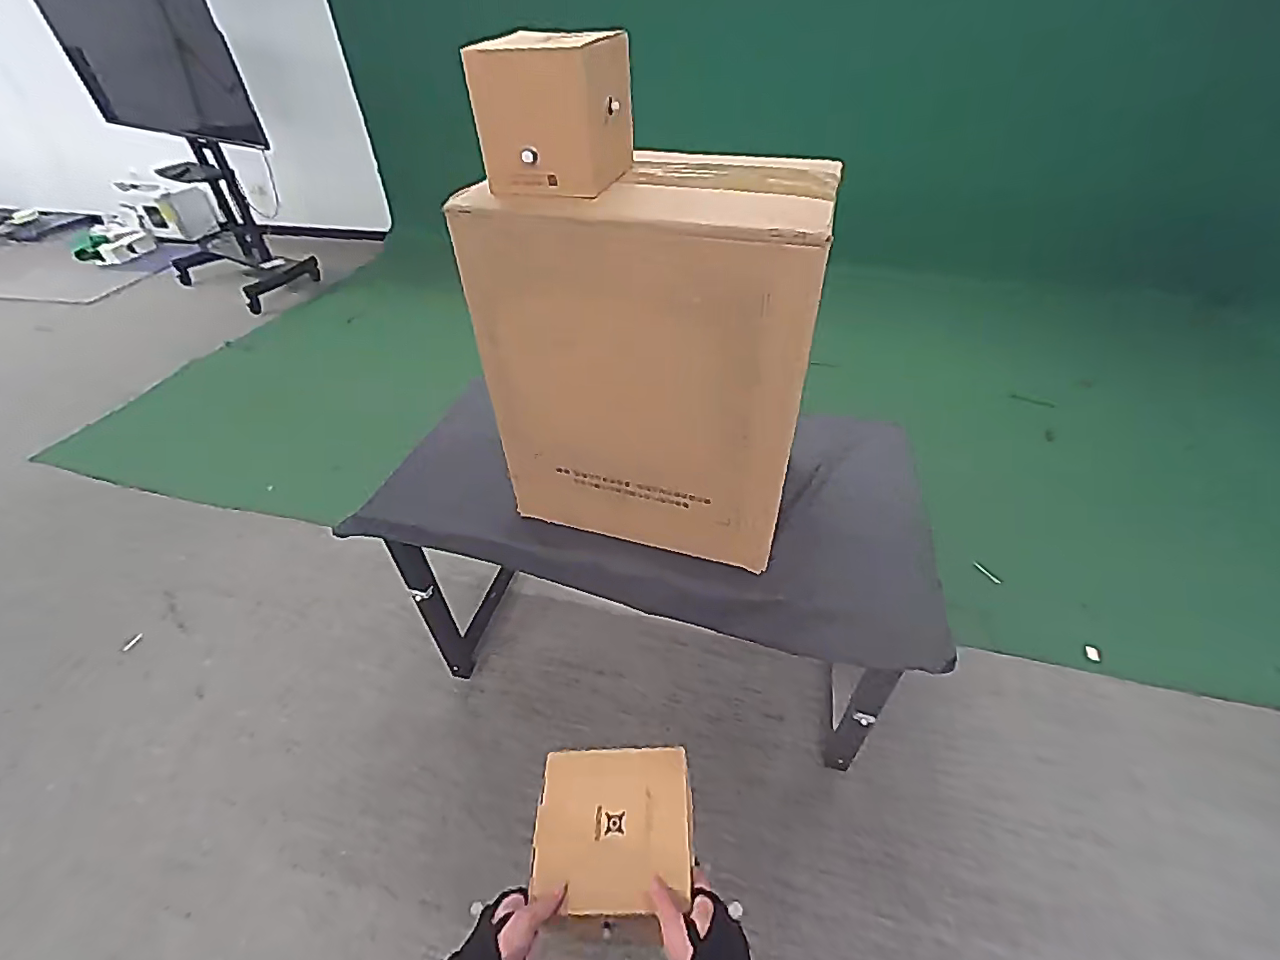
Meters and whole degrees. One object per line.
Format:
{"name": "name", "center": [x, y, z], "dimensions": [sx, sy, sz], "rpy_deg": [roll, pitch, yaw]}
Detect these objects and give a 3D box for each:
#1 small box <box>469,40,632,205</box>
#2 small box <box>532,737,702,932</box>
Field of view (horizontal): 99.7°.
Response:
{"name": "small box", "center": [-0.113, -0.514, 0.777], "dimensions": [0.168, 0.176, 0.179], "rpy_deg": [10, 46, 15]}
{"name": "small box", "center": [-0.018, 0.439, 0.669], "dimensions": [0.179, 0.176, 0.168], "rpy_deg": [-3, 41, 4]}
